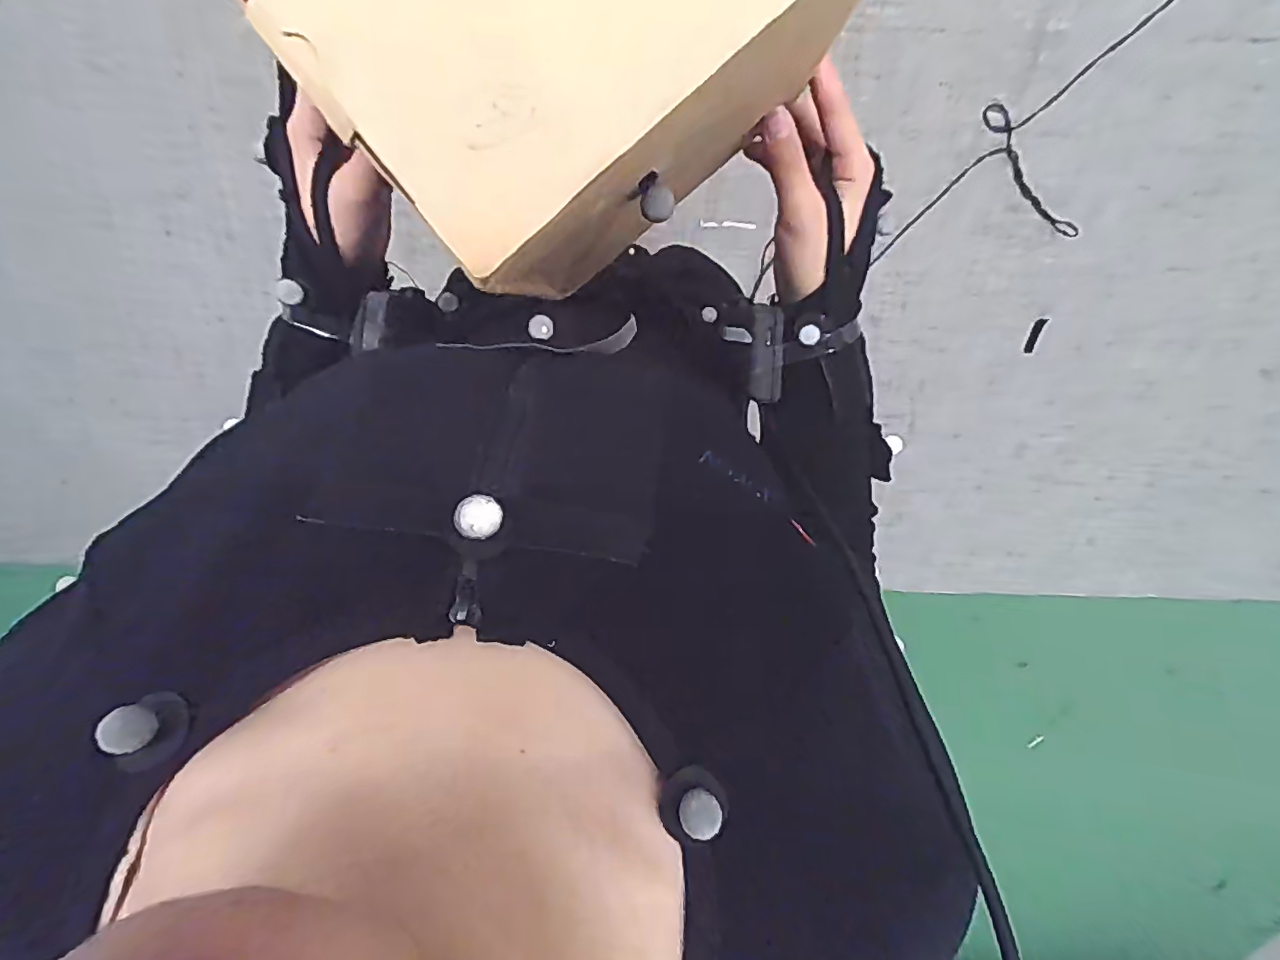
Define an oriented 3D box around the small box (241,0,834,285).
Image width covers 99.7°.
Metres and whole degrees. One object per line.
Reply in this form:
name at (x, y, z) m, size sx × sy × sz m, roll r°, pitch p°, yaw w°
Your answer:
small box at (-0.034, -0.201, 0.226) m, size 0.179 × 0.176 × 0.168 m, roll -36°, pitch 103°, yaw 12°
